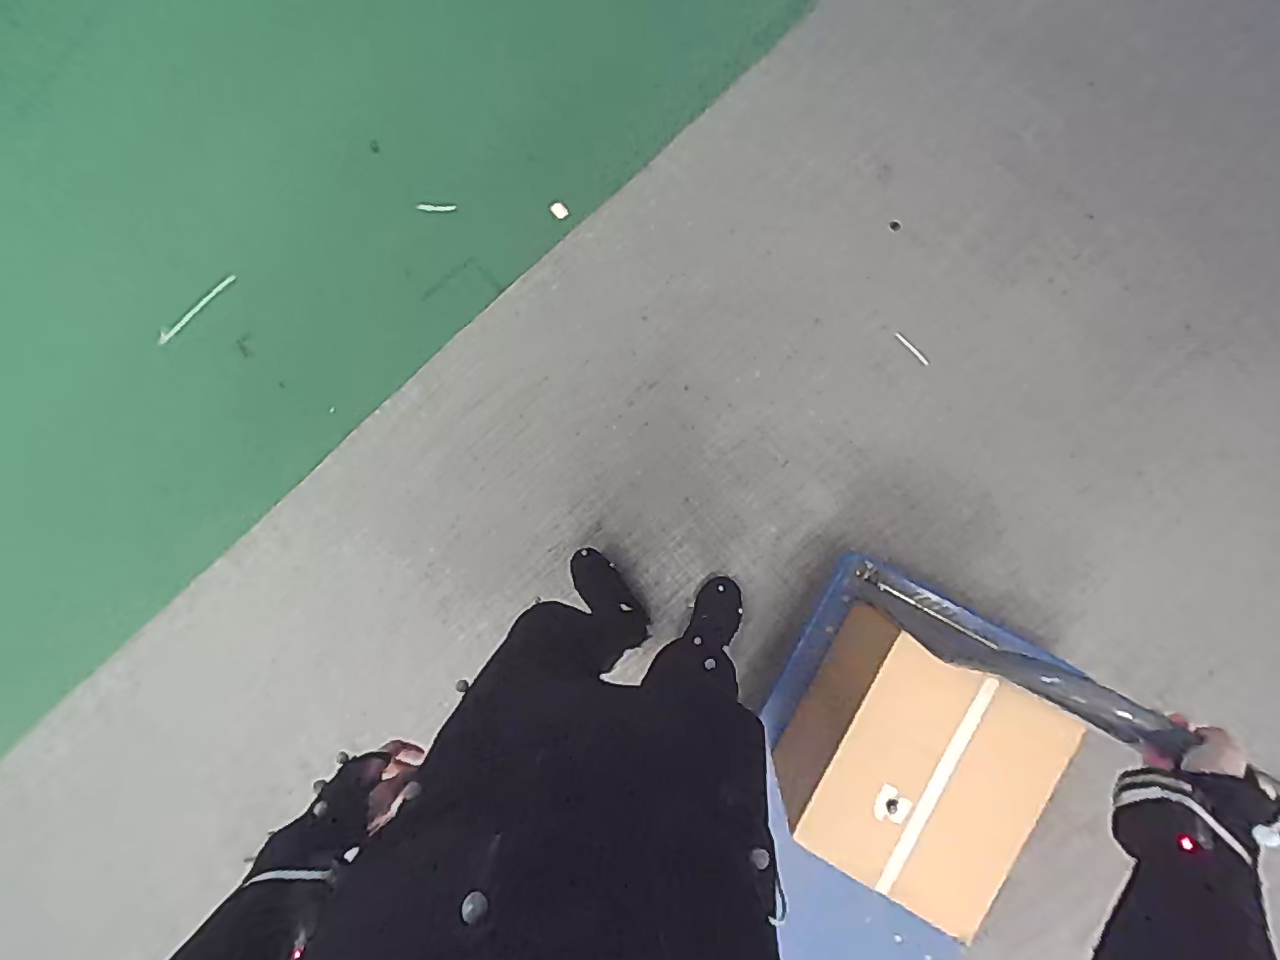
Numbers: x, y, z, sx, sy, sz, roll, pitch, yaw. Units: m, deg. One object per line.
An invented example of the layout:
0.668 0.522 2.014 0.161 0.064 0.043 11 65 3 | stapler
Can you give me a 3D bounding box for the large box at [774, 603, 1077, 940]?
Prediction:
0.498 0.502 1.031 0.320 0.320 0.408 28 91 9 | large box
